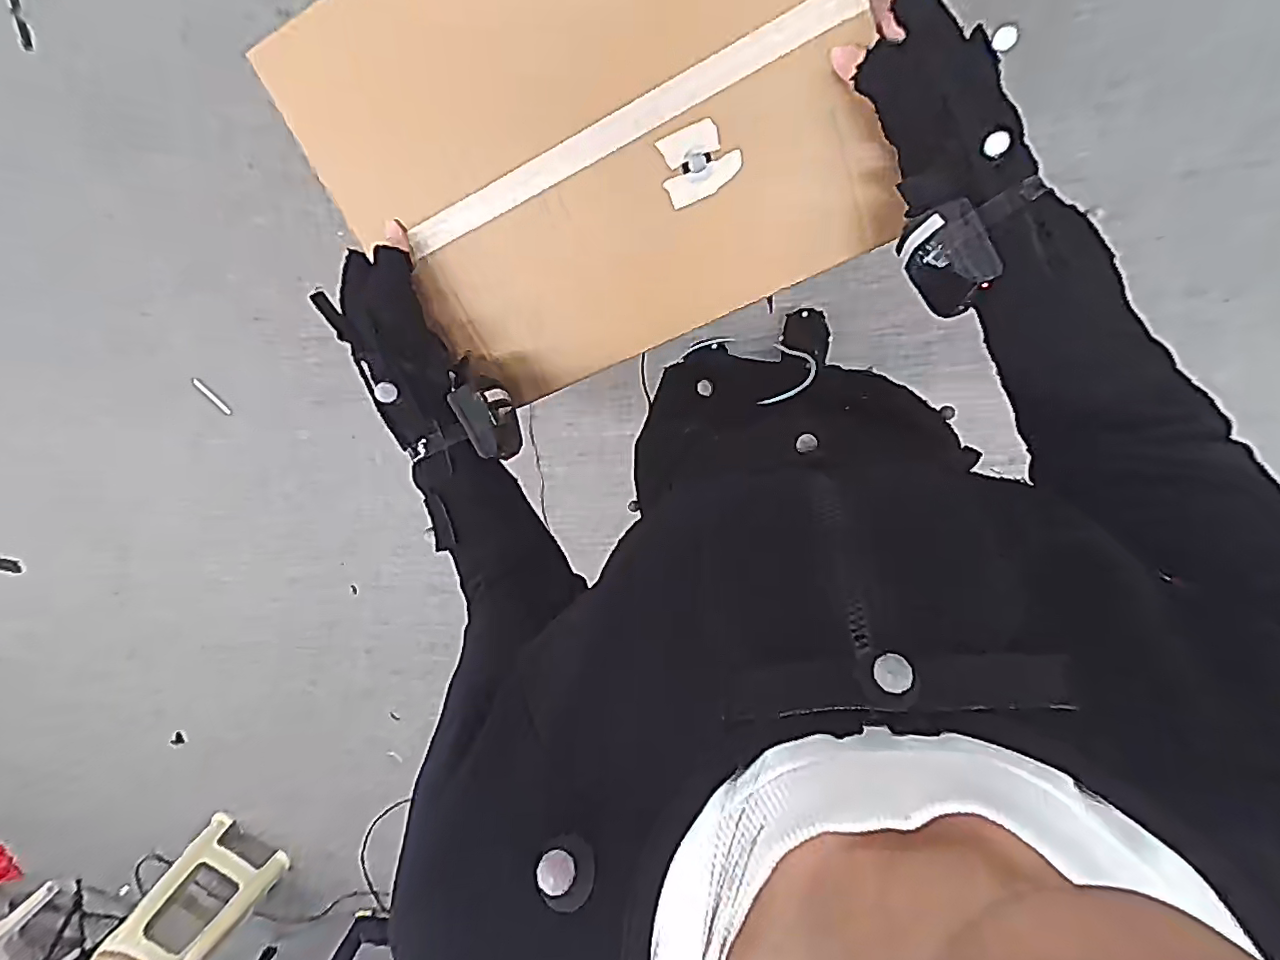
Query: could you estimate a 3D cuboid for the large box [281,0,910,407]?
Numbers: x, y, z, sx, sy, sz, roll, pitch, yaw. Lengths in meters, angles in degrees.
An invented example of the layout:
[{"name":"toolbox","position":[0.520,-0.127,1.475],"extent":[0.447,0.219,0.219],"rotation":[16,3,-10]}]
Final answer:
[{"name":"large box","position":[-0.023,-0.326,0.546],"extent":[0.408,0.320,0.320],"rotation":[-22,113,12]}]
